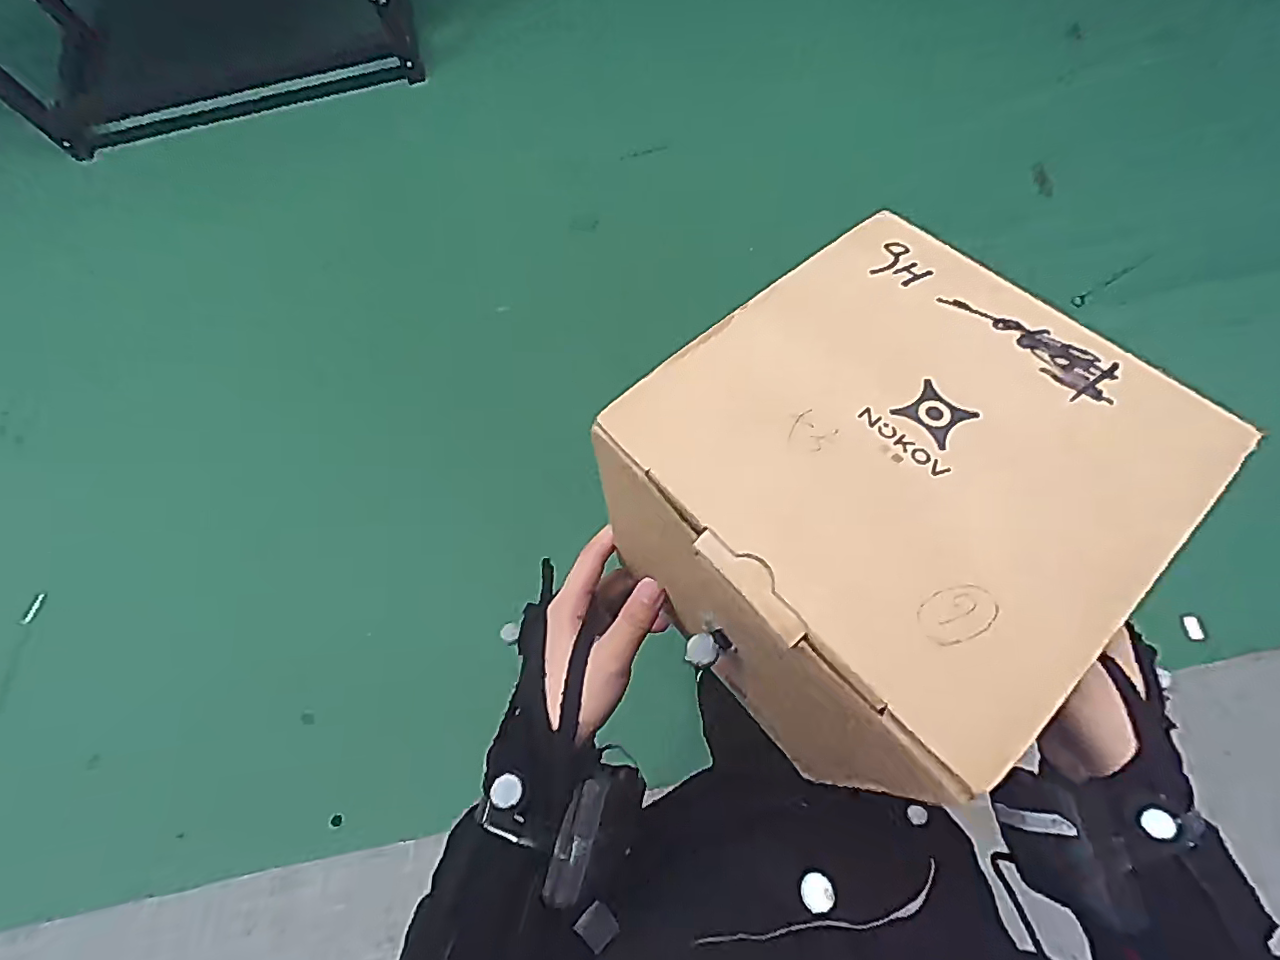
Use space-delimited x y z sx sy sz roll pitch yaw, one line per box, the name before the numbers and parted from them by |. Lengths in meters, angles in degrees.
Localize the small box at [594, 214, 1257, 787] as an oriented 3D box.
small box | 0.103 0.018 0.268 0.179 0.176 0.168 -38 67 -15
